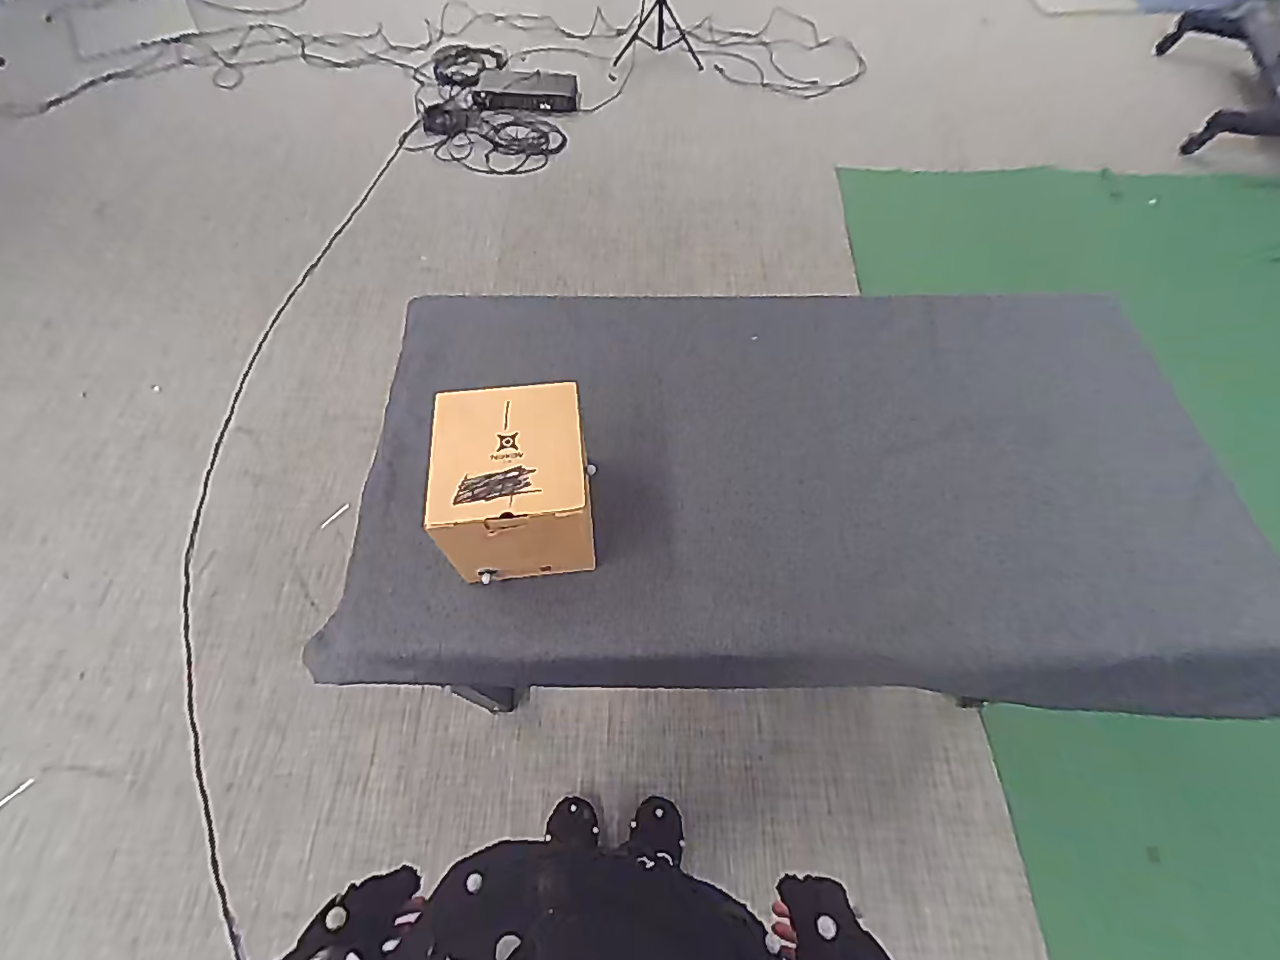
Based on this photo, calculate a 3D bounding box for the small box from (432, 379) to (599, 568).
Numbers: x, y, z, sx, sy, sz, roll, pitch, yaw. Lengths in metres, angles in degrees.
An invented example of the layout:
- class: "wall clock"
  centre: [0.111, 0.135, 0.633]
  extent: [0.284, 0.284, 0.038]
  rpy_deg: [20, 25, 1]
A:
- class: "small box"
  centre: [-0.142, 0.001, 0.669]
  extent: [0.168, 0.176, 0.179]
  rpy_deg: [-6, 60, -3]
